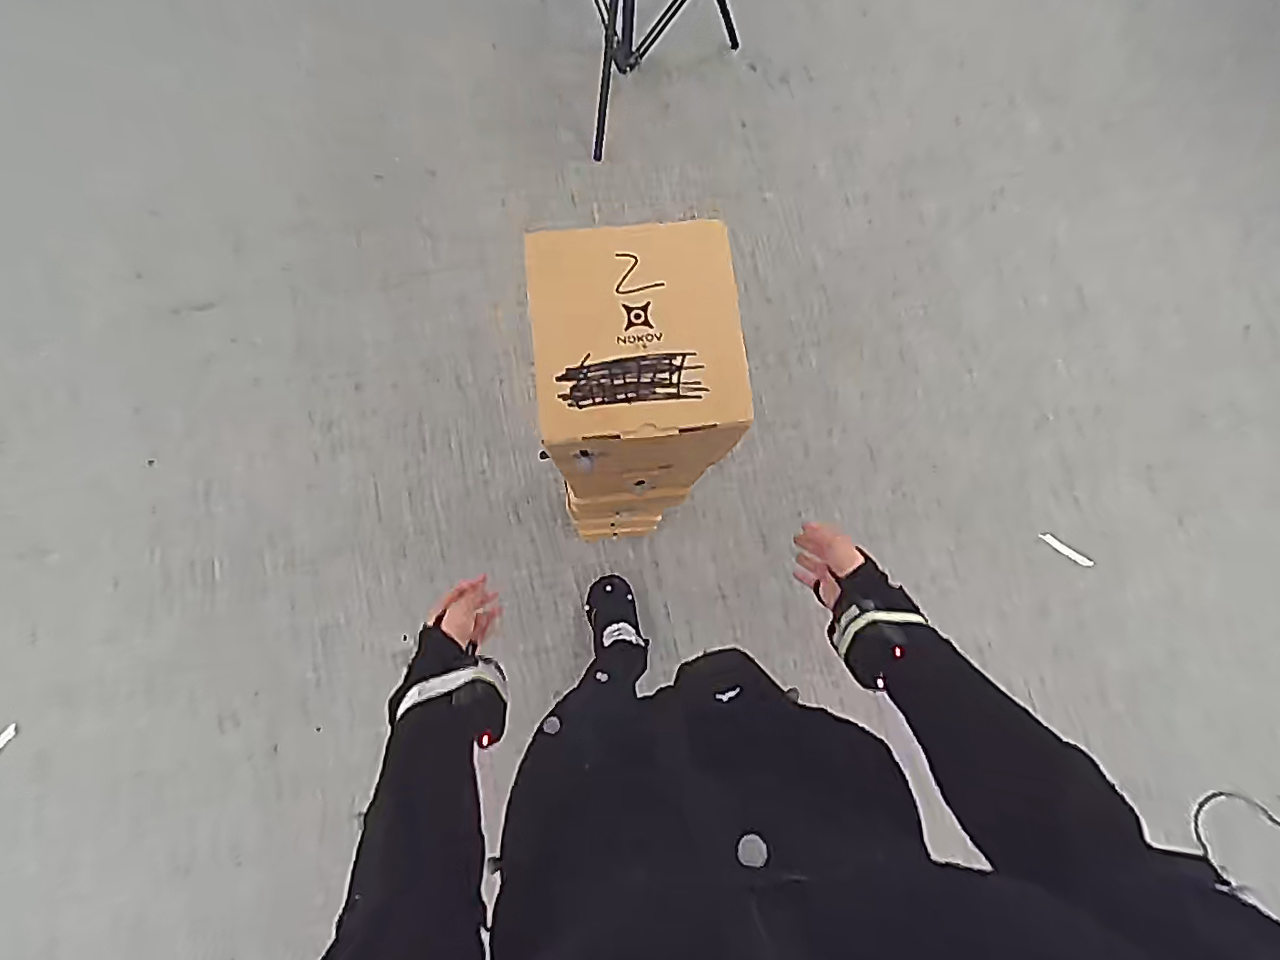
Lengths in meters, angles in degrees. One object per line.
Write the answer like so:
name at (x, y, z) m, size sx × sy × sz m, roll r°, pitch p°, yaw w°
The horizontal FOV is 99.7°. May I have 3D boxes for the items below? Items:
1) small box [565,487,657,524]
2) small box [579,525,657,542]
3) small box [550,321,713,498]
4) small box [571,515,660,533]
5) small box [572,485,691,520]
small box at (-0.045, -0.012, 0.990) m, size 0.179 × 0.176 × 0.168 m, roll -5°, pitch 81°, yaw -5°
small box at (-0.061, 0.060, 1.308) m, size 0.179 × 0.176 × 0.168 m, roll -5°, pitch 81°, yaw -4°
small box at (-0.013, -0.074, 0.669) m, size 0.168 × 0.176 × 0.179 m, roll -7°, pitch 82°, yaw -5°
small box at (-0.053, 0.024, 1.147) m, size 0.179 × 0.176 × 0.168 m, roll -2°, pitch 81°, yaw -4°
small box at (-0.022, -0.038, 0.829) m, size 0.168 × 0.176 × 0.179 m, roll -5°, pitch 82°, yaw -3°
